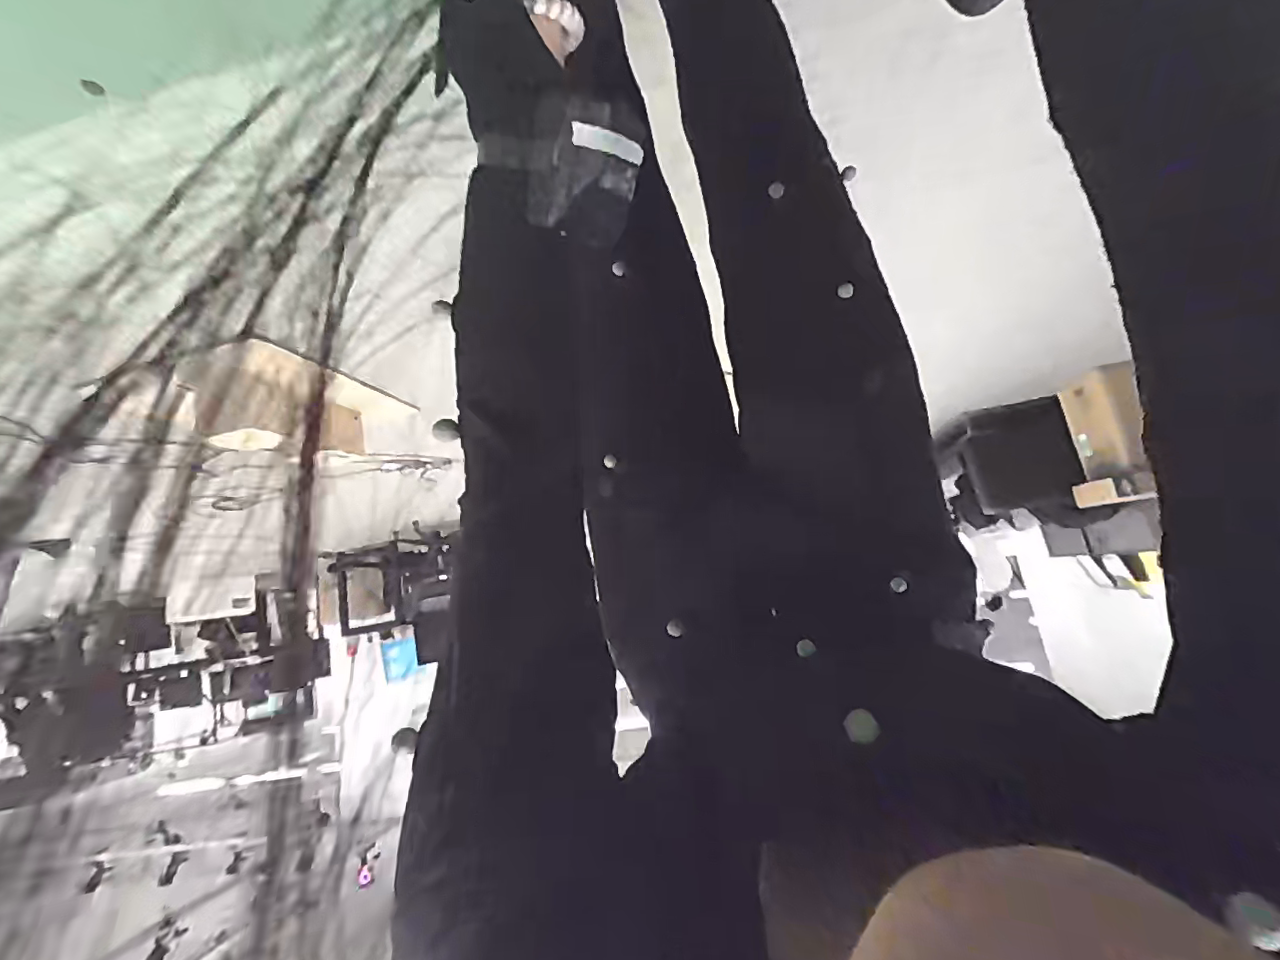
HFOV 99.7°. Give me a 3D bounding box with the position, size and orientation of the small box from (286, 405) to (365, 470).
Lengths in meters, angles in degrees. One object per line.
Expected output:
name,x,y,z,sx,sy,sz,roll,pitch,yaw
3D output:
small box,-1.076,-0.145,1.843,0.179,0.176,0.168,-12,168,12

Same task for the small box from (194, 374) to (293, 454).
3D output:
small box,-1.152,-0.190,1.578,0.179,0.176,0.168,-12,169,6
